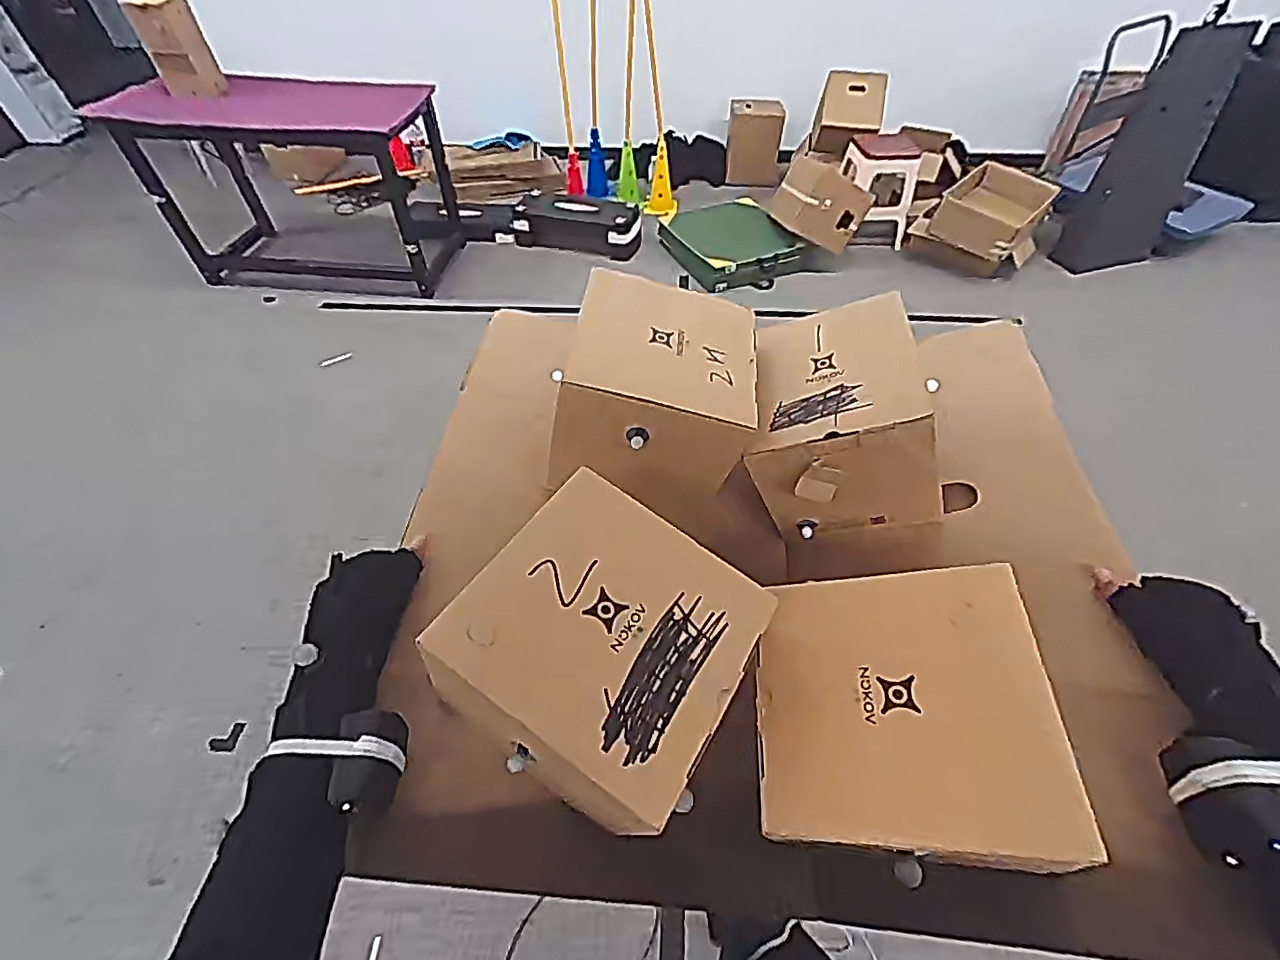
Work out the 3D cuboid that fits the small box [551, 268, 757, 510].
[{"bbox_3d":[0.010,-0.087,0.574,0.179,0.176,0.168,14,55,-7],"label":"small box"}]
